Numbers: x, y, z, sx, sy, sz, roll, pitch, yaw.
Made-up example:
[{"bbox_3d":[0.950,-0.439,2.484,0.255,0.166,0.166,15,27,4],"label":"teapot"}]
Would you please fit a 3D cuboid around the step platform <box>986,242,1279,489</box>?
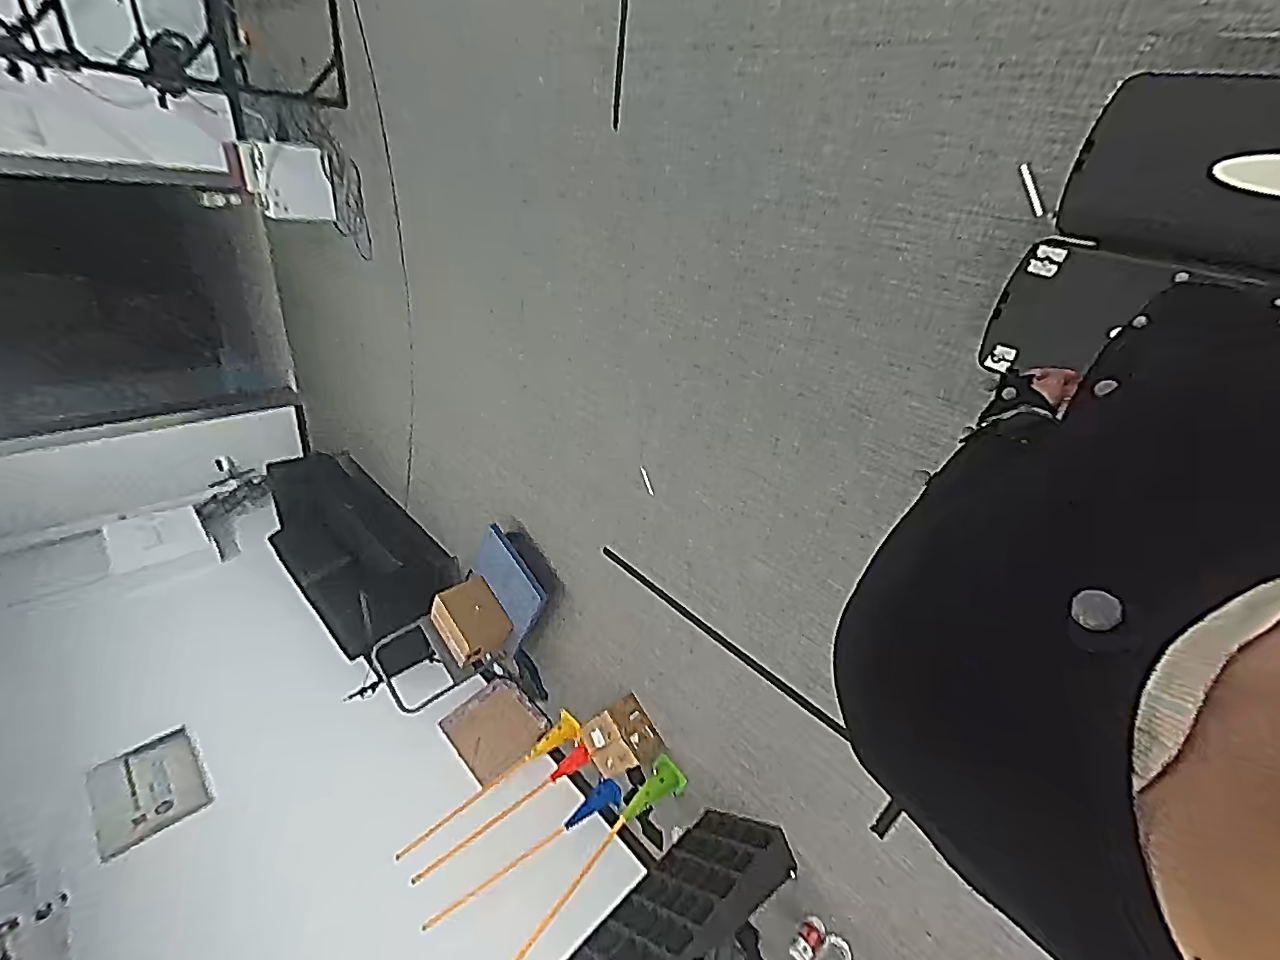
[{"bbox_3d":[1.065,-0.218,1.026,0.684,0.204,0.286,38,129,33],"label":"step platform"}]
